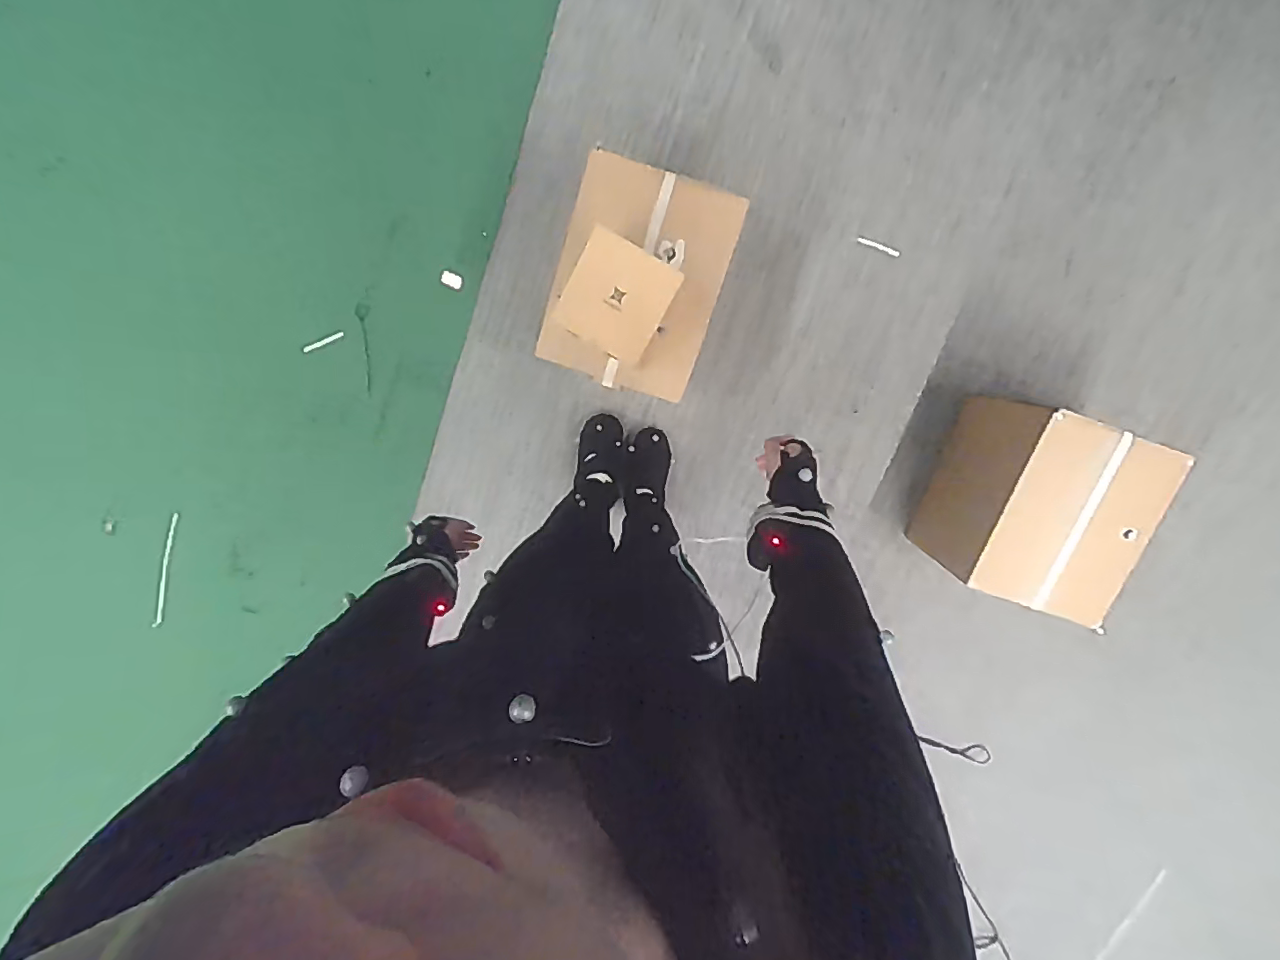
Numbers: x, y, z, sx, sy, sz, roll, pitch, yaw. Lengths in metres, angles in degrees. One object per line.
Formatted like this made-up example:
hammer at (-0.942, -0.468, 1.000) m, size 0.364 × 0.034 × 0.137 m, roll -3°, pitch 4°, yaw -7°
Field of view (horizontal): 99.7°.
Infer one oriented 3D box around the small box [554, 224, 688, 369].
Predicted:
small box at (-0.030, -0.317, 0.964) m, size 0.168 × 0.176 × 0.179 m, roll 29°, pitch 104°, yaw -4°

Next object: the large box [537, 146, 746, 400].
large box at (0.002, -0.420, 1.189) m, size 0.320 × 0.320 × 0.408 m, roll 19°, pitch 103°, yaw -2°
